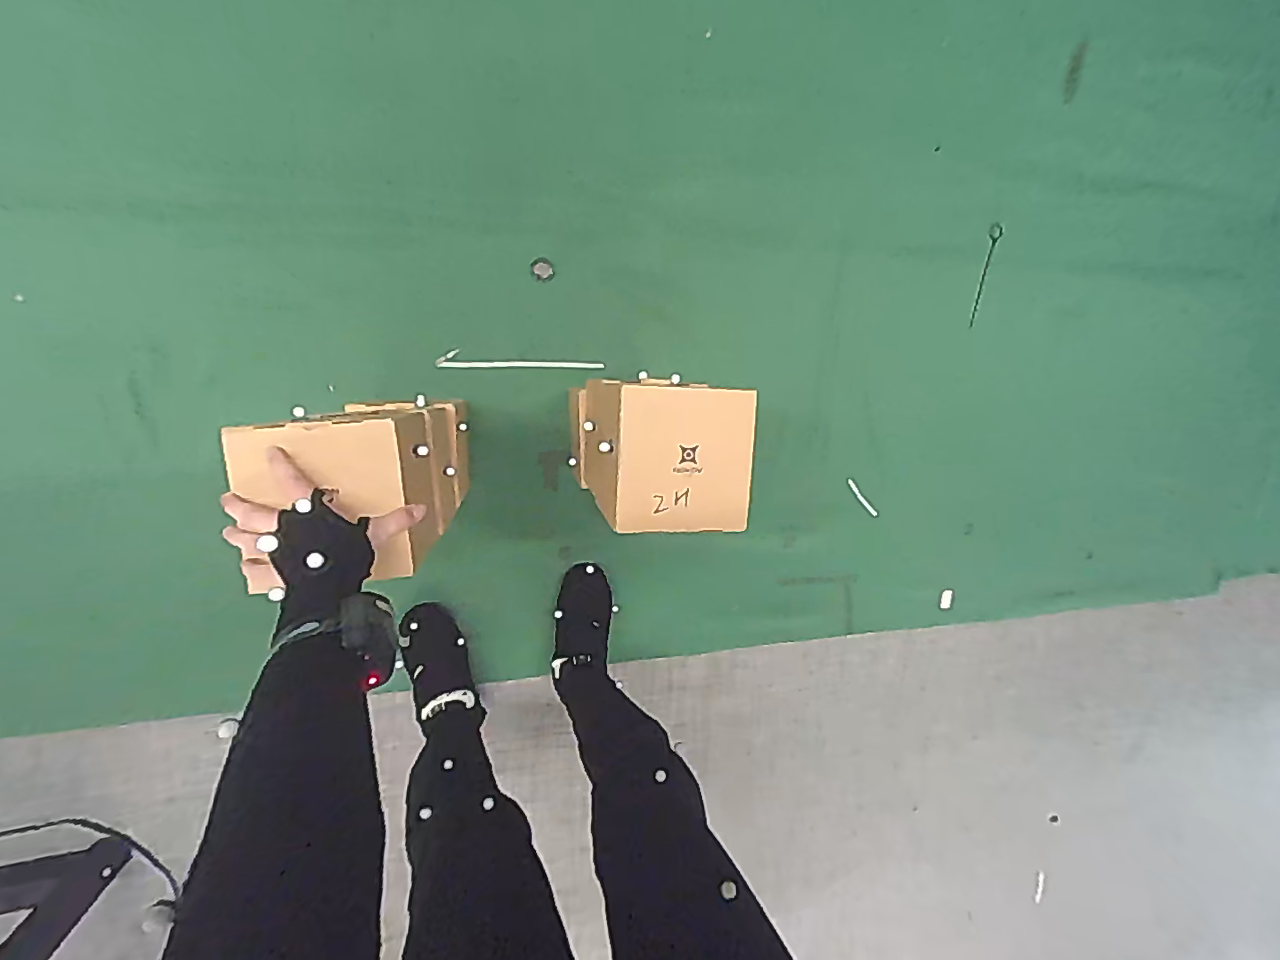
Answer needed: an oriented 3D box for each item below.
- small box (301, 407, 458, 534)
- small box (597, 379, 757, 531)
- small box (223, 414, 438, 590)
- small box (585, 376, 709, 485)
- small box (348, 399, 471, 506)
[{"bbox_3d":[-0.370,-0.017,0.798,0.168,0.176,0.179,-5,101,-10],"label":"small box"},{"bbox_3d":[0.037,-0.039,0.708,0.168,0.176,0.179,1,101,-13],"label":"small box"},{"bbox_3d":[-0.345,0.012,0.640,0.168,0.176,0.179,-5,100,-10],"label":"small box"},{"bbox_3d":[0.004,-0.072,0.866,0.168,0.176,0.179,1,100,-13],"label":"small box"},{"bbox_3d":[-0.396,-0.052,0.956,0.168,0.176,0.179,-2,99,-11],"label":"small box"}]
